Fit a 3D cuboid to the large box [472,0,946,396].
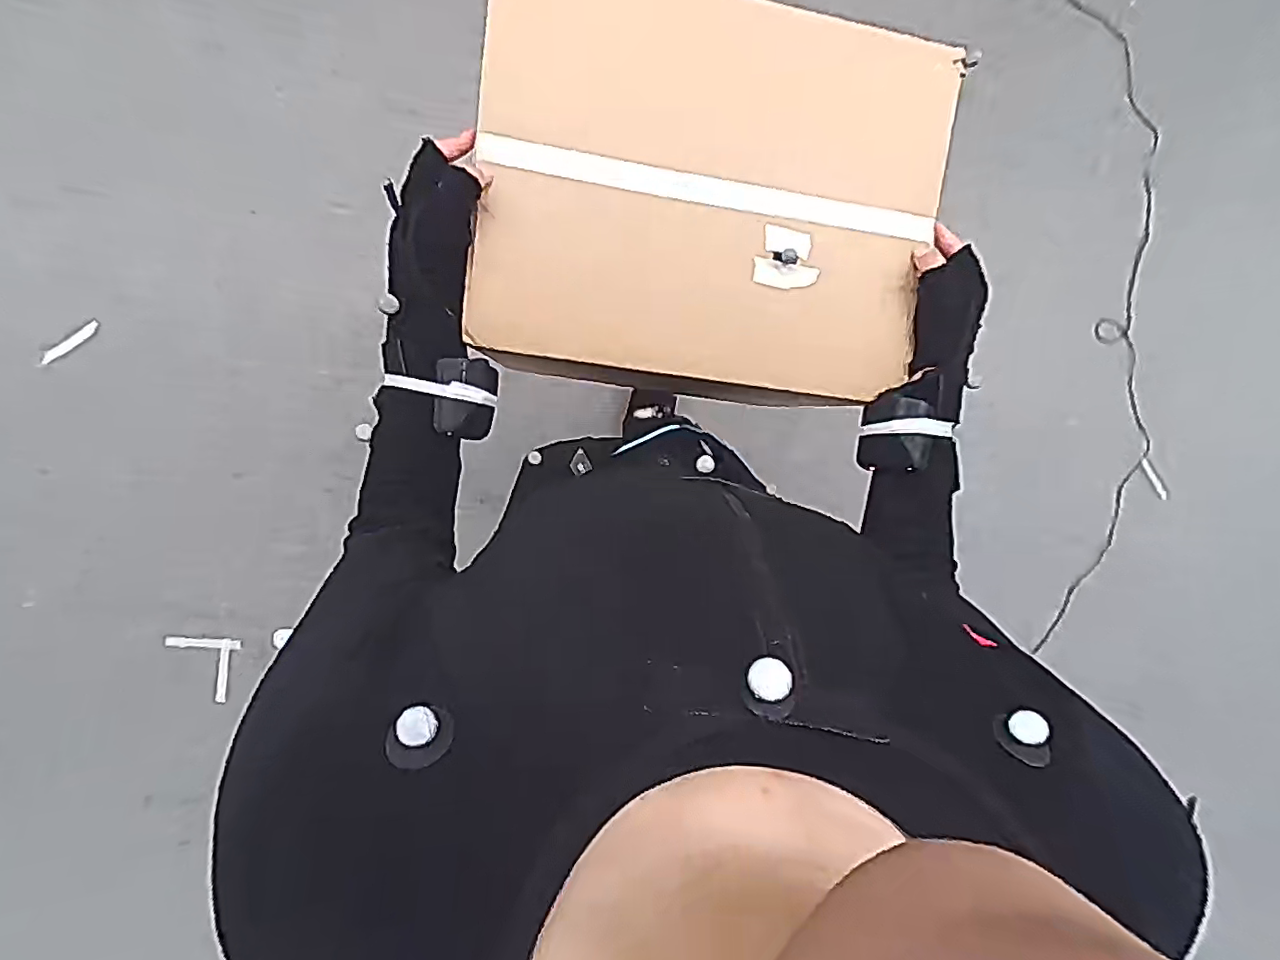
[{"bbox_3d":[0.043,-0.273,0.619,0.408,0.320,0.320,6,98,-9],"label":"large box"}]
